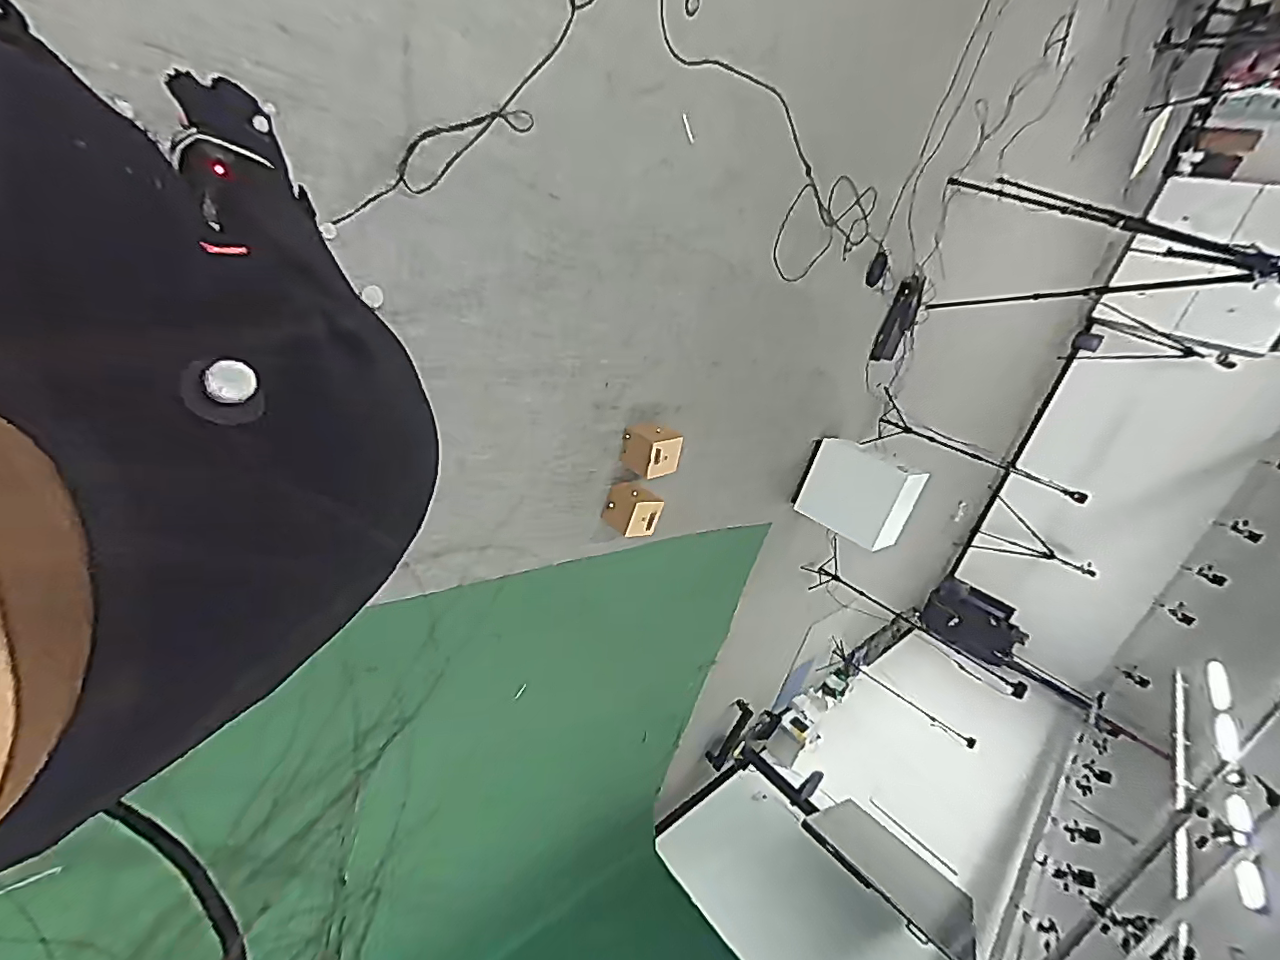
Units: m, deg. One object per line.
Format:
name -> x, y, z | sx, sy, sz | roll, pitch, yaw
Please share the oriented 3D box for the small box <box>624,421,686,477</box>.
small box -> 0.056, -0.133, 2.224 | 0.179, 0.176, 0.168 | -15, 127, -41
